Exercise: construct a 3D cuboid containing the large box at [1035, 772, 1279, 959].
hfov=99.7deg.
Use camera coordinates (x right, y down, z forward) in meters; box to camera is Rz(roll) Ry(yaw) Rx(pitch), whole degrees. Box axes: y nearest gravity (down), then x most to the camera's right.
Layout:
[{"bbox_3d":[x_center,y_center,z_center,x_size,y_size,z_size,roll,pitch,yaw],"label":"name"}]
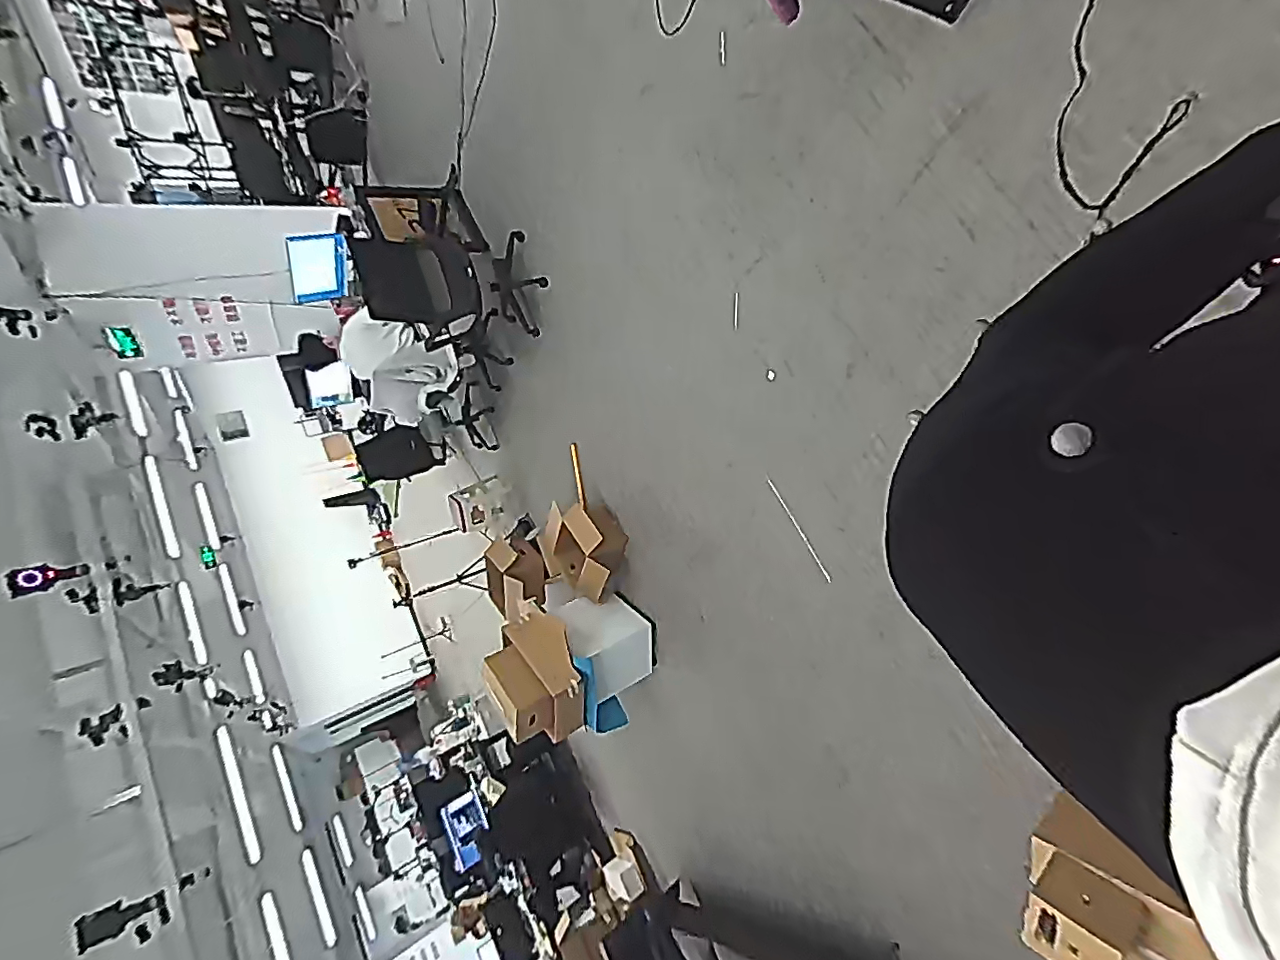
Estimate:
[{"bbox_3d":[1.306,1.048,1.385,0.408,0.320,0.320,7,112,53],"label":"large box"}]
